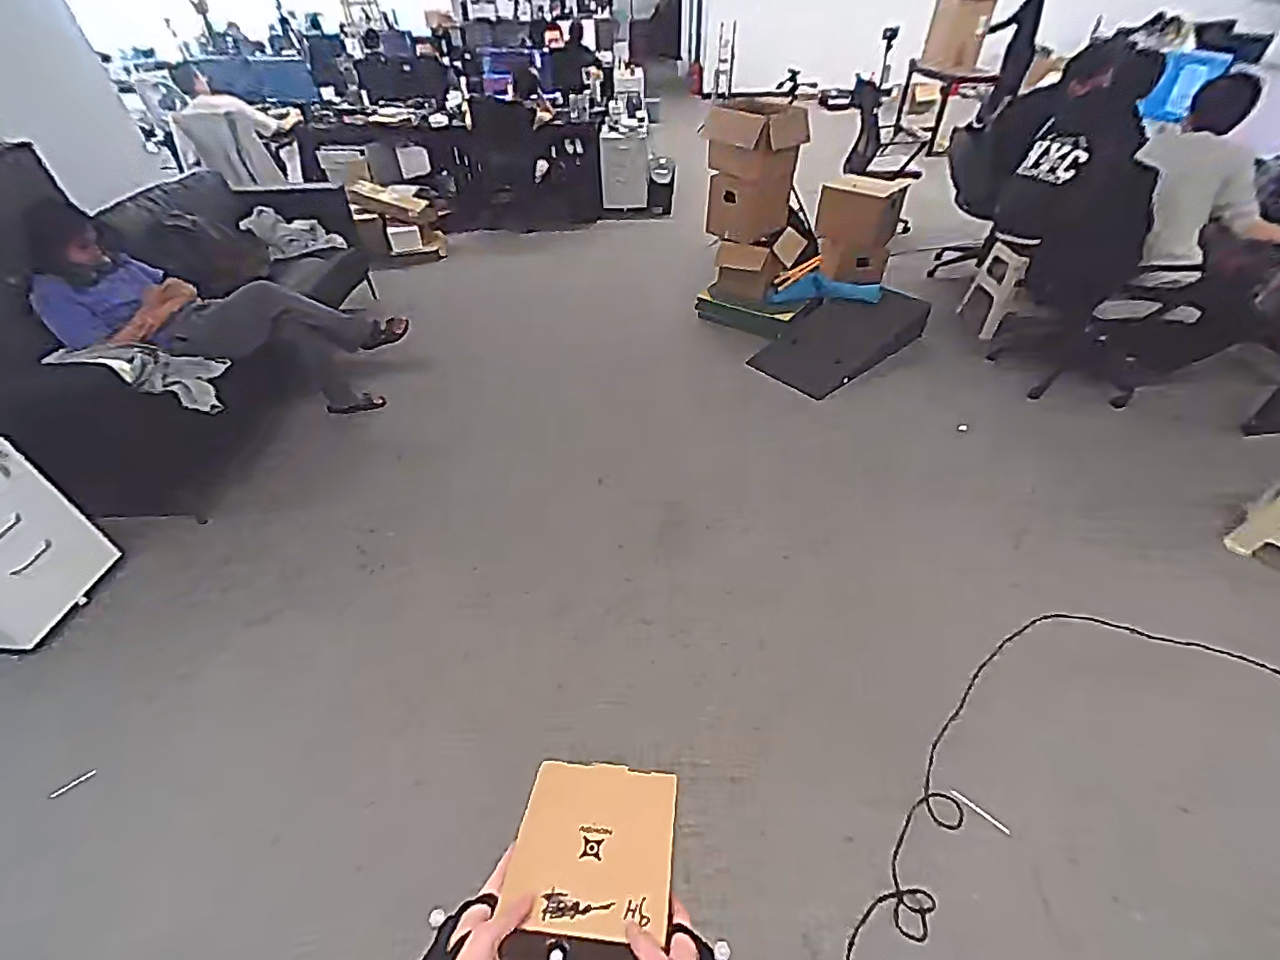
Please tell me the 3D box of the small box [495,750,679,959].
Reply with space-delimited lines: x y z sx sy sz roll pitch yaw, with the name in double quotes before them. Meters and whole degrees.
"small box" -0.047 0.443 0.607 0.168 0.176 0.179 2 25 7
